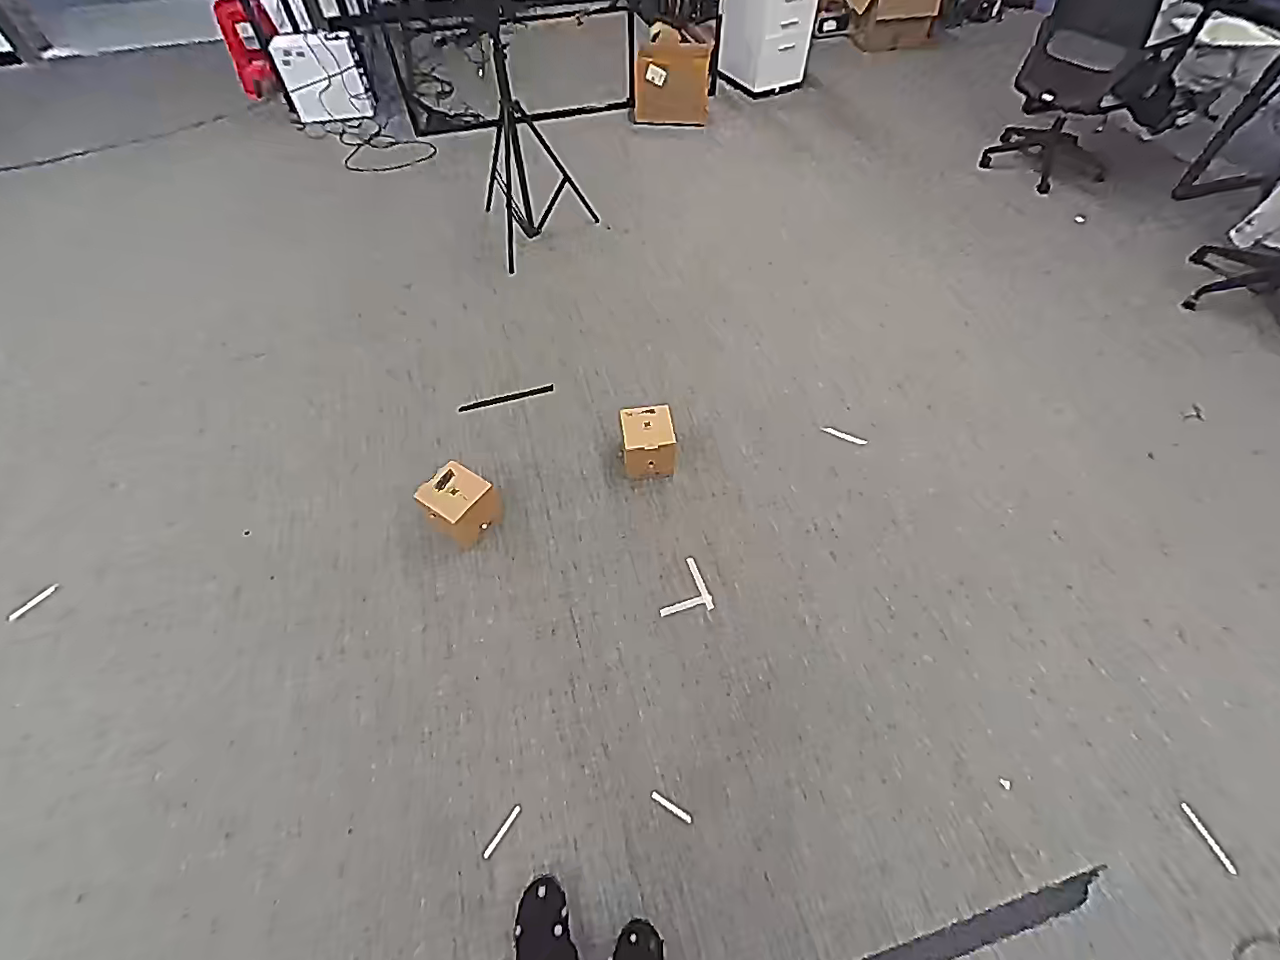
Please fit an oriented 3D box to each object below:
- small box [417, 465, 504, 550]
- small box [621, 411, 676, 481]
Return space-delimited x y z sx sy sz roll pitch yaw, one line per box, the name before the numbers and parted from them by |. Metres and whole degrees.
small box | -0.555 0.090 1.690 0.179 0.176 0.168 29 60 19
small box | 0.028 -0.109 1.829 0.168 0.176 0.179 -6 55 -4
